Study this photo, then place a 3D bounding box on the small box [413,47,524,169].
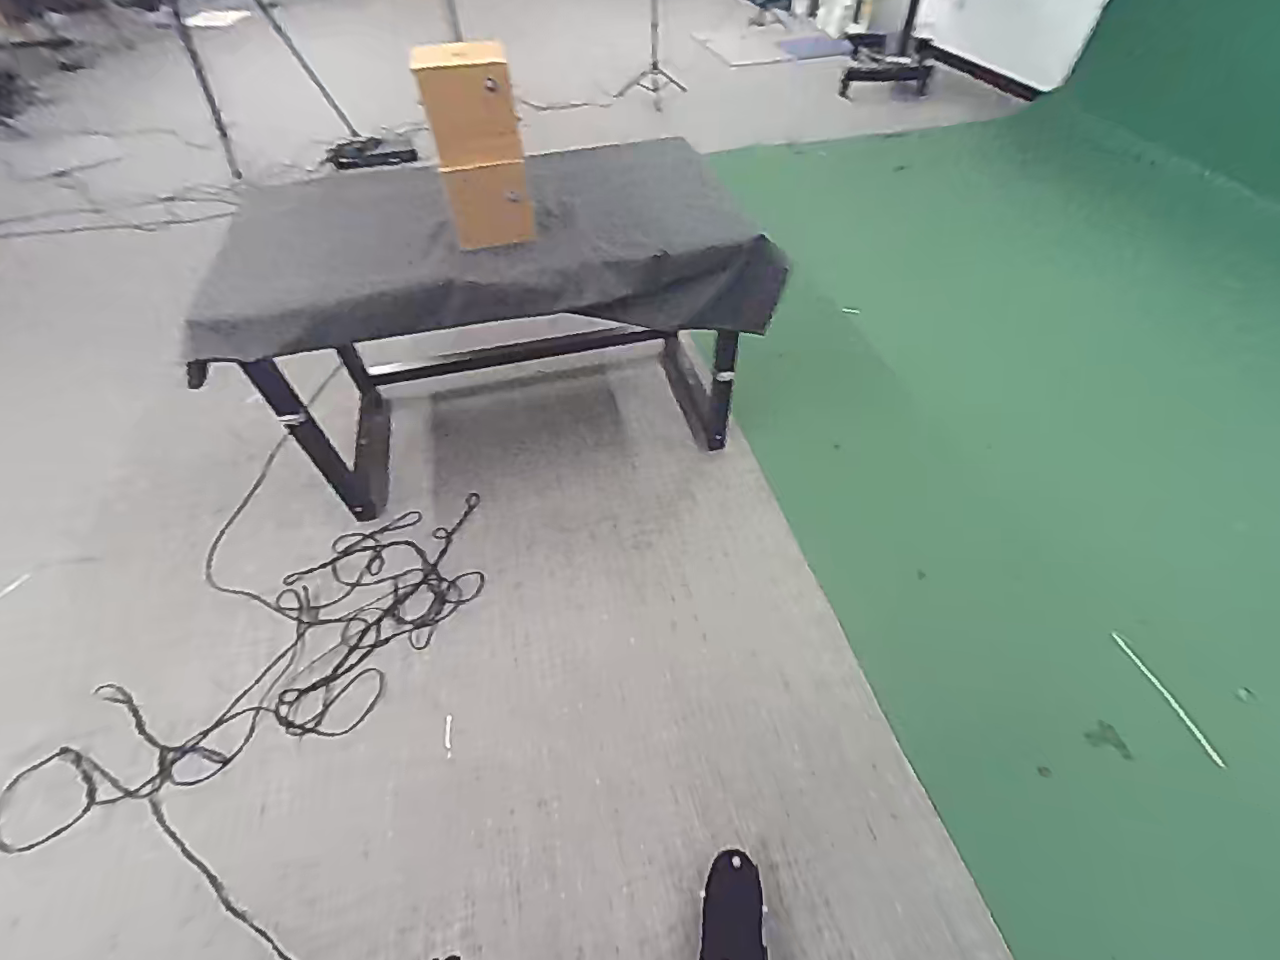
[{"bbox_3d":[-0.342,-0.750,1.096,0.179,0.176,0.168,-11,50,-9],"label":"small box"}]
